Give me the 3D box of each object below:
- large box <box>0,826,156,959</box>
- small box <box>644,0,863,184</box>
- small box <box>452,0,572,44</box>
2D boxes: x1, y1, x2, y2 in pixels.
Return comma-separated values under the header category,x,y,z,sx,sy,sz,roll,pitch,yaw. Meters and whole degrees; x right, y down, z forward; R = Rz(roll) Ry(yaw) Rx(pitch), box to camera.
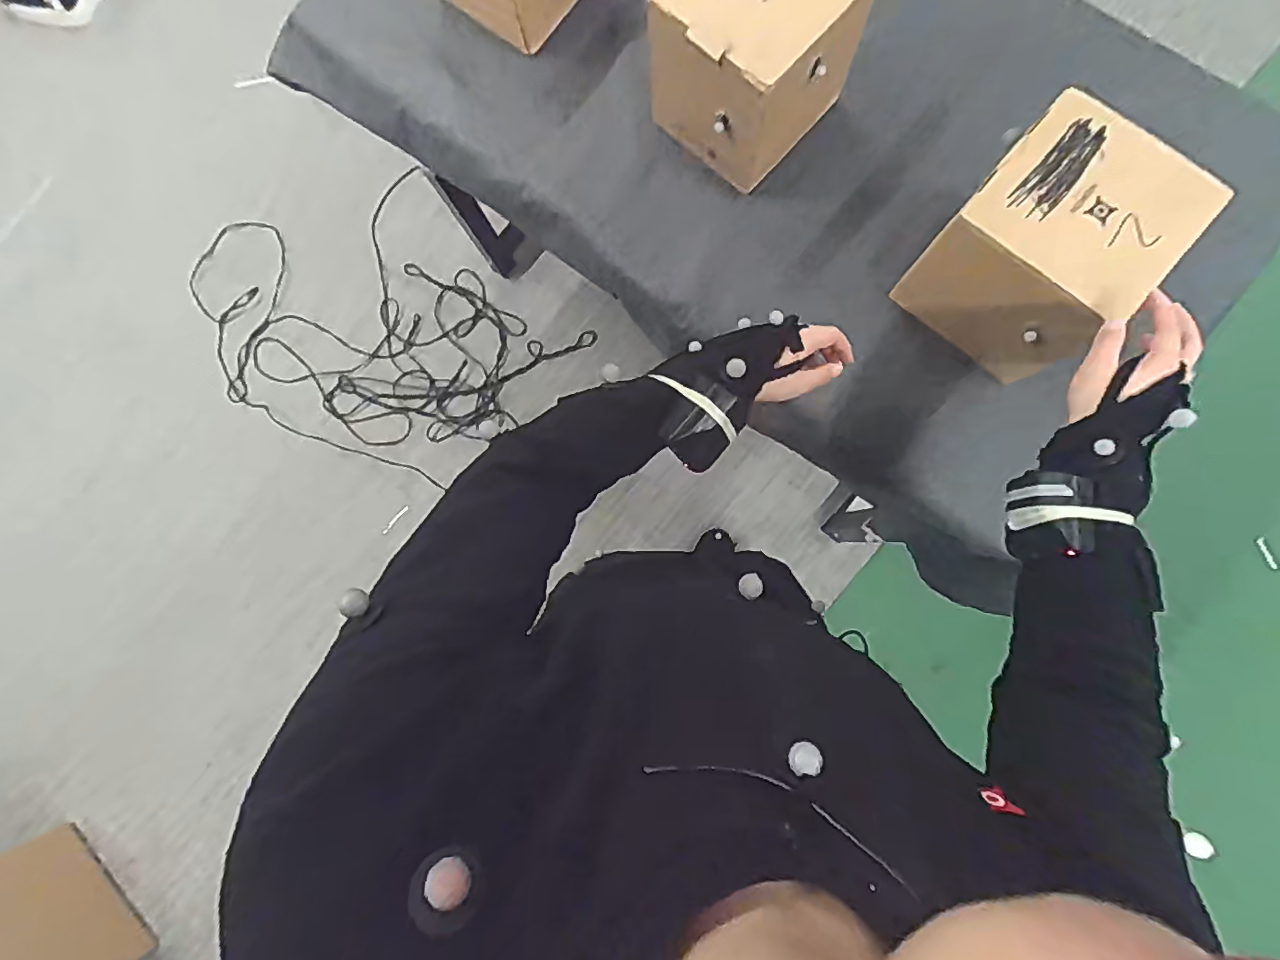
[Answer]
category,x,y,z,sx,sy,sz,roll,pitch,yaw
large box,-1.468,1.127,1.241,0.408,0.320,0.320,44,89,9
small box,0.125,-0.487,0.615,0.168,0.176,0.179,43,88,6
small box,-0.174,-0.696,0.659,0.179,0.176,0.168,37,88,6
